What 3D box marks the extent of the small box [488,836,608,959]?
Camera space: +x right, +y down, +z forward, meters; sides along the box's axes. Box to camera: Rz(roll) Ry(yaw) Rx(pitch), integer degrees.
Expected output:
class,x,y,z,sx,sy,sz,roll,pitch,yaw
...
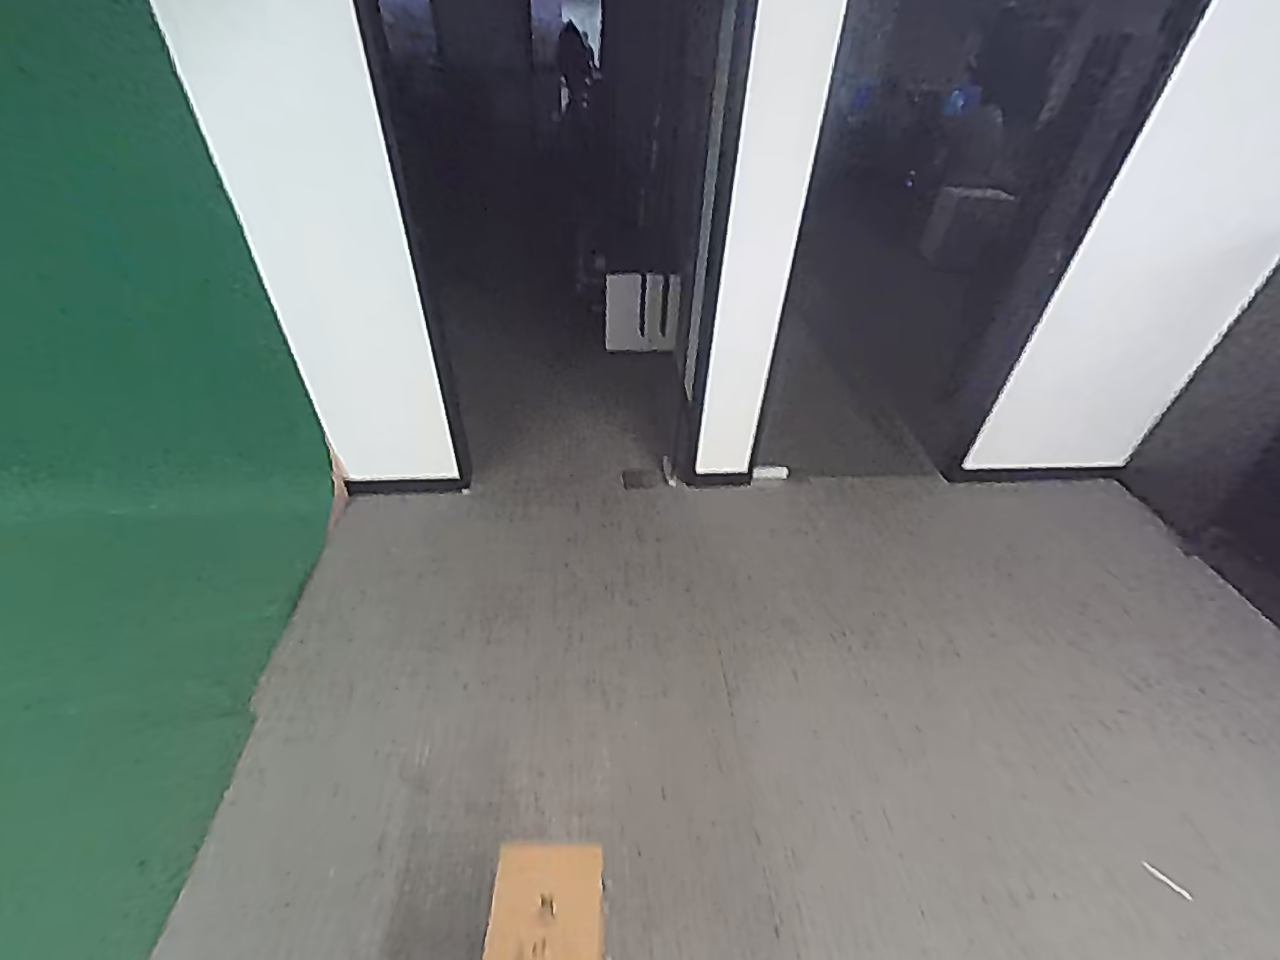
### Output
class,x,y,z,sx,sy,sz,roll,pitch,yaw
small box,-0.138,0.702,0.869,0.168,0.176,0.179,1,40,-2
